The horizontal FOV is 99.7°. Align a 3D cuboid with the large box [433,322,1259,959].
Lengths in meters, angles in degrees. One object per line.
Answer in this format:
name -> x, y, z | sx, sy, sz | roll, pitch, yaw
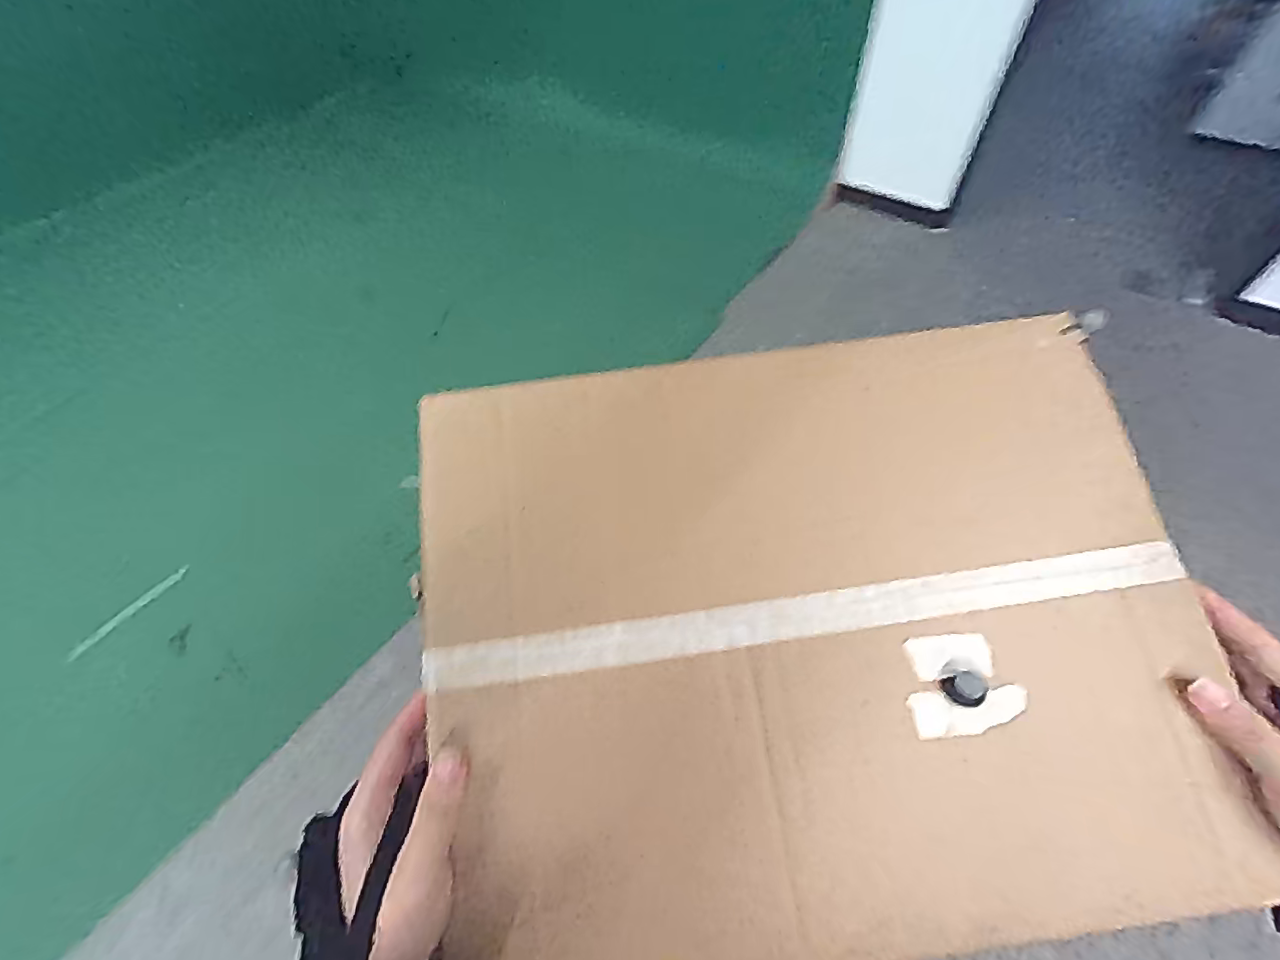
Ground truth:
large box -> 0.089, 0.114, 0.443 | 0.408, 0.320, 0.320 | -8, 74, -3
